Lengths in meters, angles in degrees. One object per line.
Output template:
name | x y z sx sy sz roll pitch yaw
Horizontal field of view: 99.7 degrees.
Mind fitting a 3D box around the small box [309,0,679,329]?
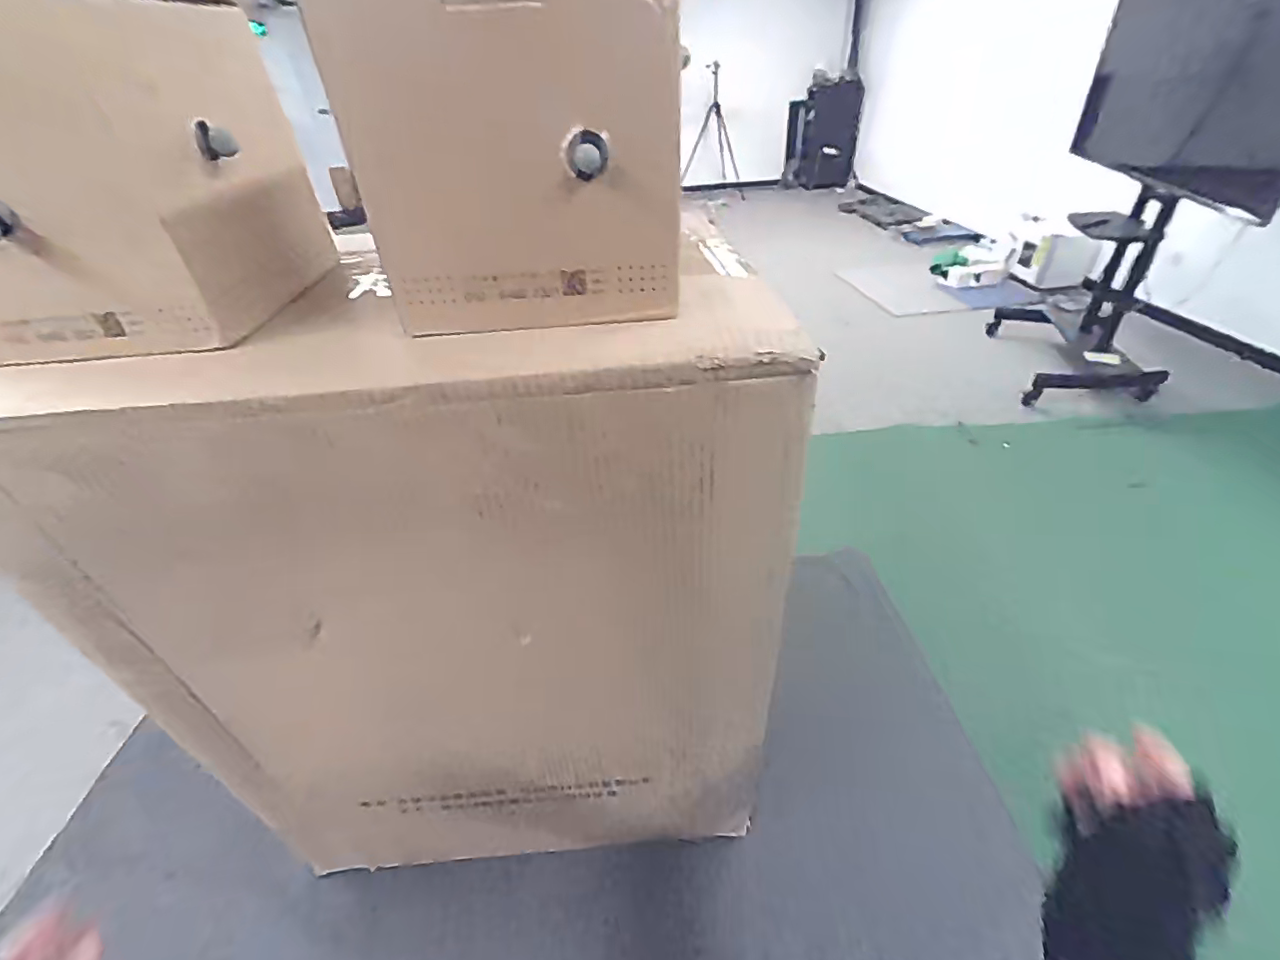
small box | -0.065 -0.203 0.345 0.168 0.176 0.179 -3 37 -3
